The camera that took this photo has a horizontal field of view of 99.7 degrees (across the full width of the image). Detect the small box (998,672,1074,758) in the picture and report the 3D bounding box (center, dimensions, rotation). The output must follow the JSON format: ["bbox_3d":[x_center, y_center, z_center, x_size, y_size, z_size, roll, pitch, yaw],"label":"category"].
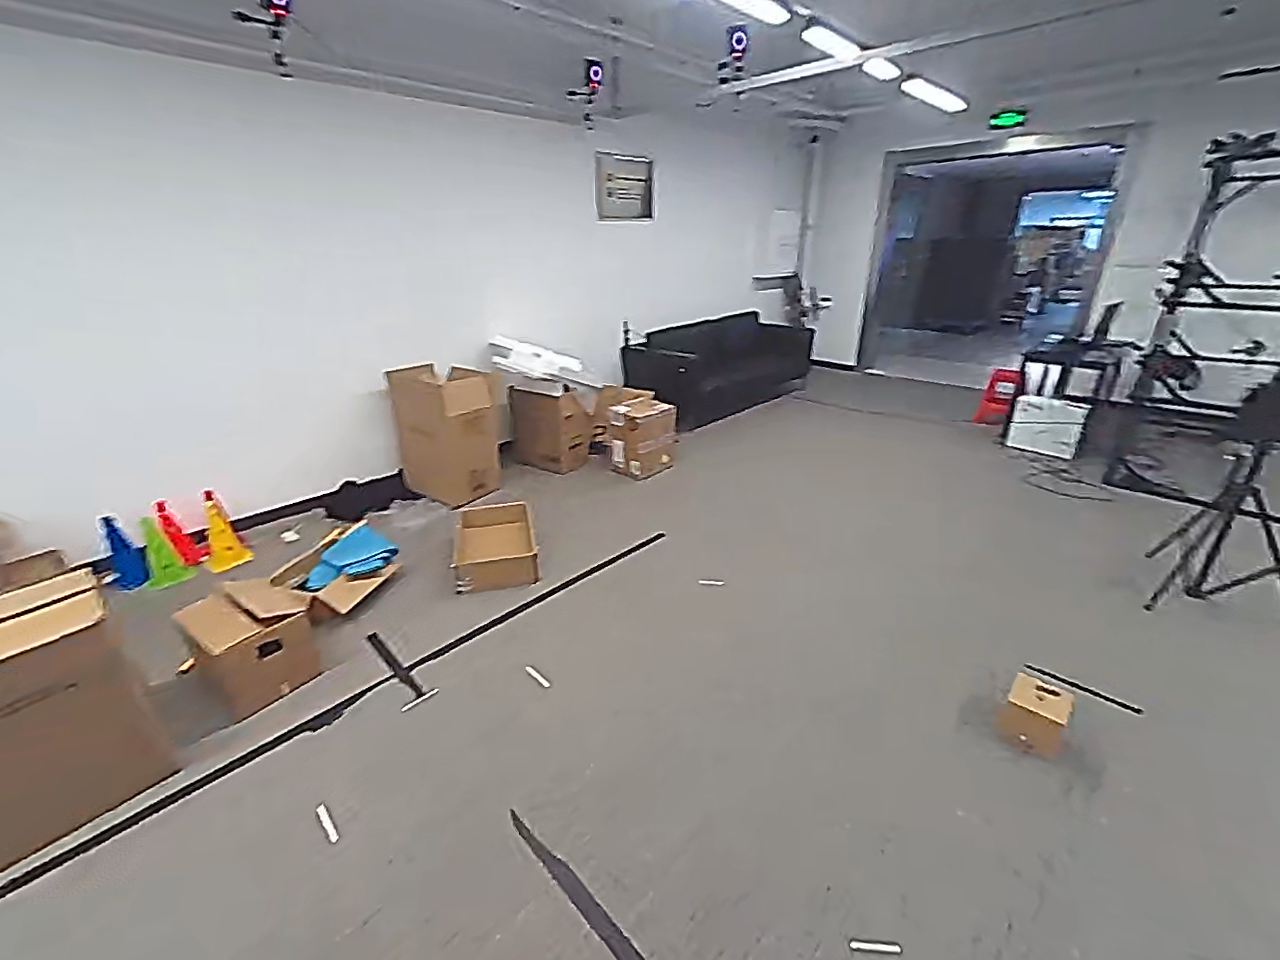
[{"bbox_3d":[1.366,0.809,1.870,0.168,0.176,0.179,20,32,40],"label":"small box"}]
